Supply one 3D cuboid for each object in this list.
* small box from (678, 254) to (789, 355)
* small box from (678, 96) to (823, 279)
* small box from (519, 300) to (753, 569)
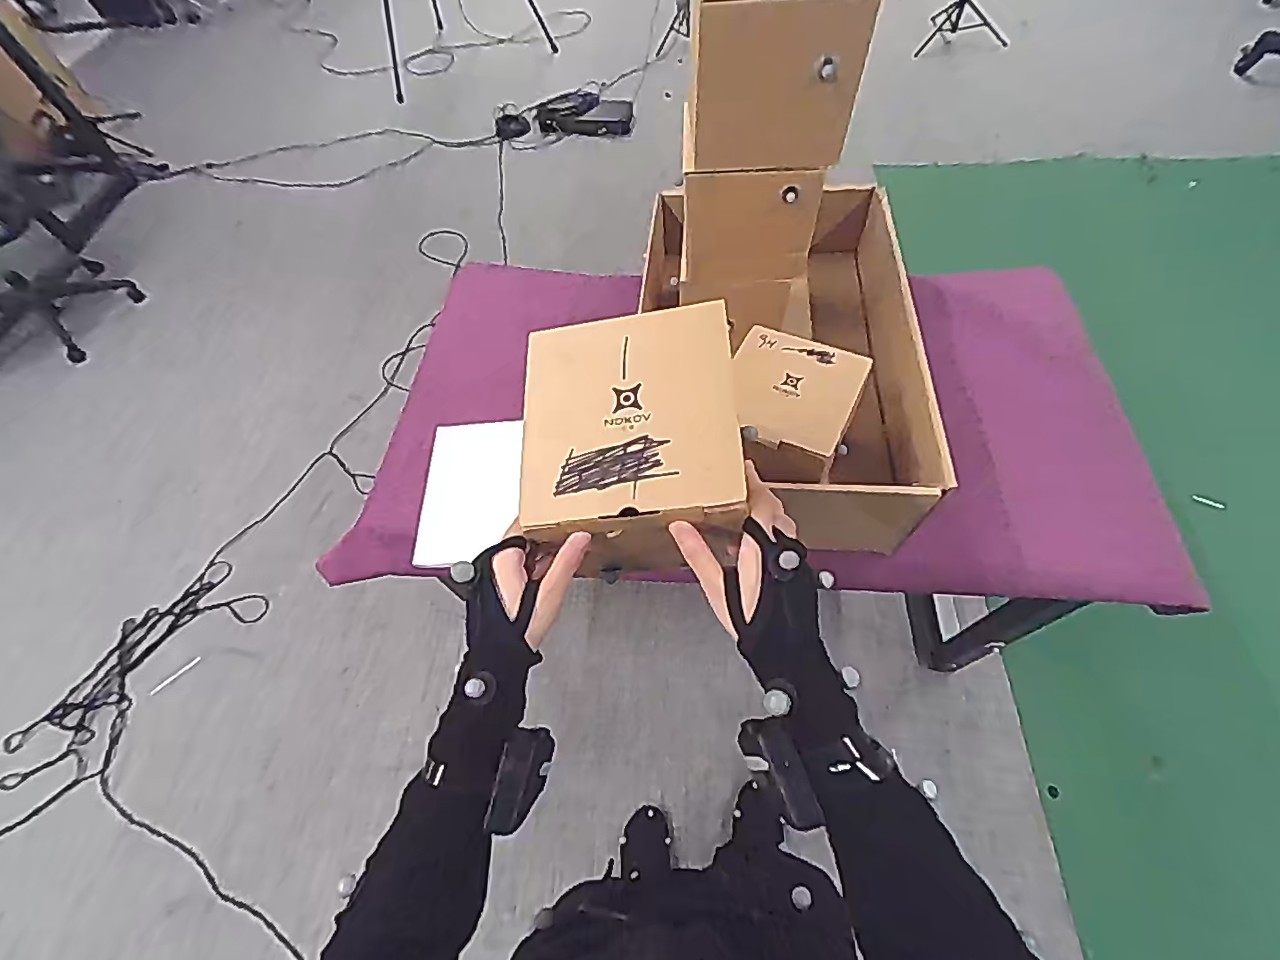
[{"bbox_3d":[0.153,-0.326,0.904,0.168,0.176,0.179,2,61,6],"label":"small box"},{"bbox_3d":[0.145,-0.404,0.762,0.179,0.176,0.168,0,61,5],"label":"small box"},{"bbox_3d":[0.006,-0.023,0.480,0.168,0.176,0.179,-7,66,11],"label":"small box"}]
